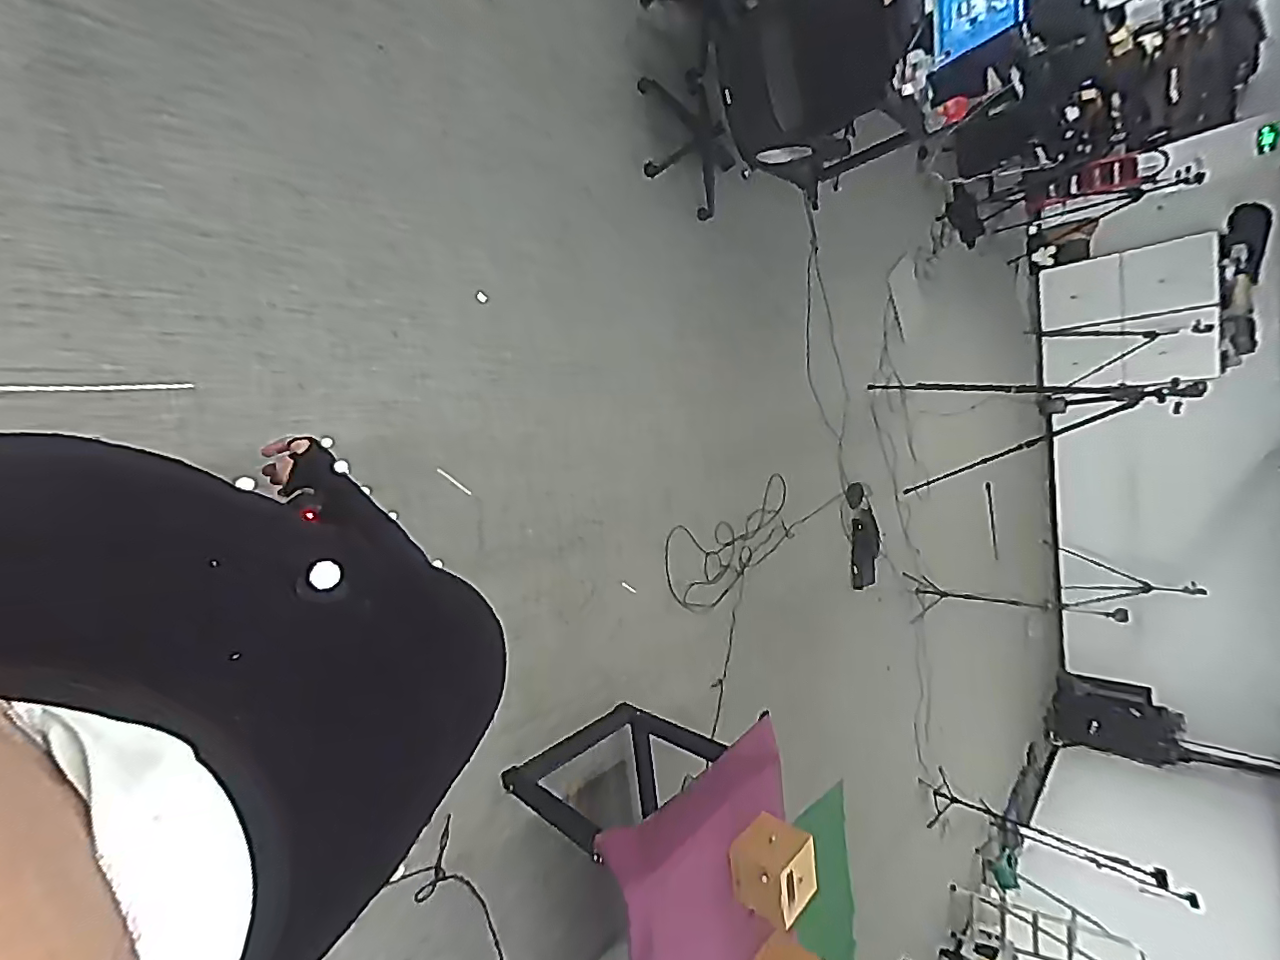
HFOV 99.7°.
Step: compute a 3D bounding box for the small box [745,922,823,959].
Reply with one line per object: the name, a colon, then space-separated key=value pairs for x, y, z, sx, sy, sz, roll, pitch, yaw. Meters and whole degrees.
small box: x=0.425 y=1.476 z=1.597 sx=0.179 sy=0.176 sz=0.168 roll=-11 pitch=97 yaw=-43
